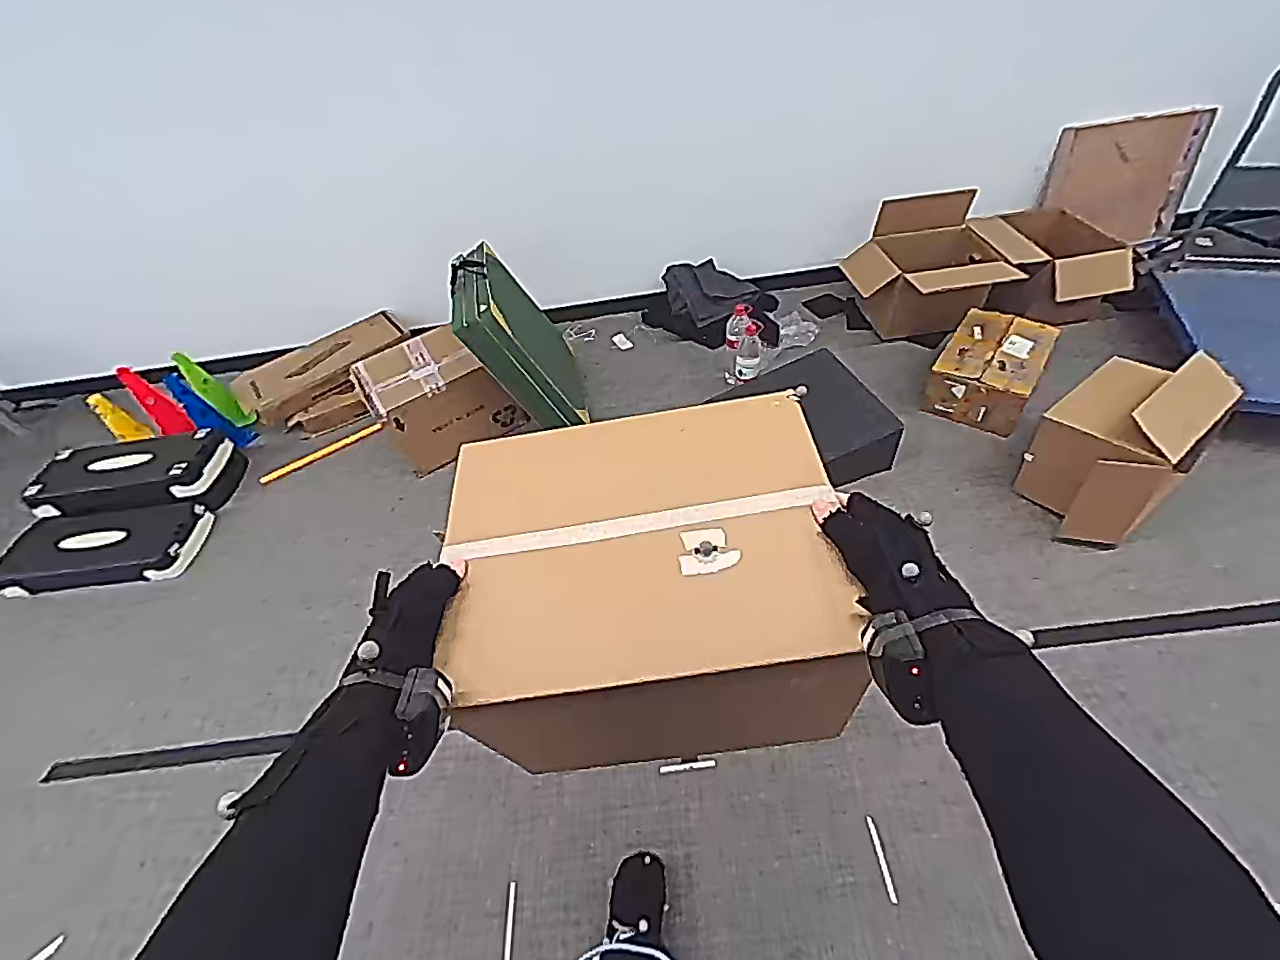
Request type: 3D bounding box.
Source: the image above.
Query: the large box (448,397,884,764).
[{"bbox_3d":[0.024,0.139,0.686,0.408,0.320,0.320,-9,52,3],"label":"large box"}]
